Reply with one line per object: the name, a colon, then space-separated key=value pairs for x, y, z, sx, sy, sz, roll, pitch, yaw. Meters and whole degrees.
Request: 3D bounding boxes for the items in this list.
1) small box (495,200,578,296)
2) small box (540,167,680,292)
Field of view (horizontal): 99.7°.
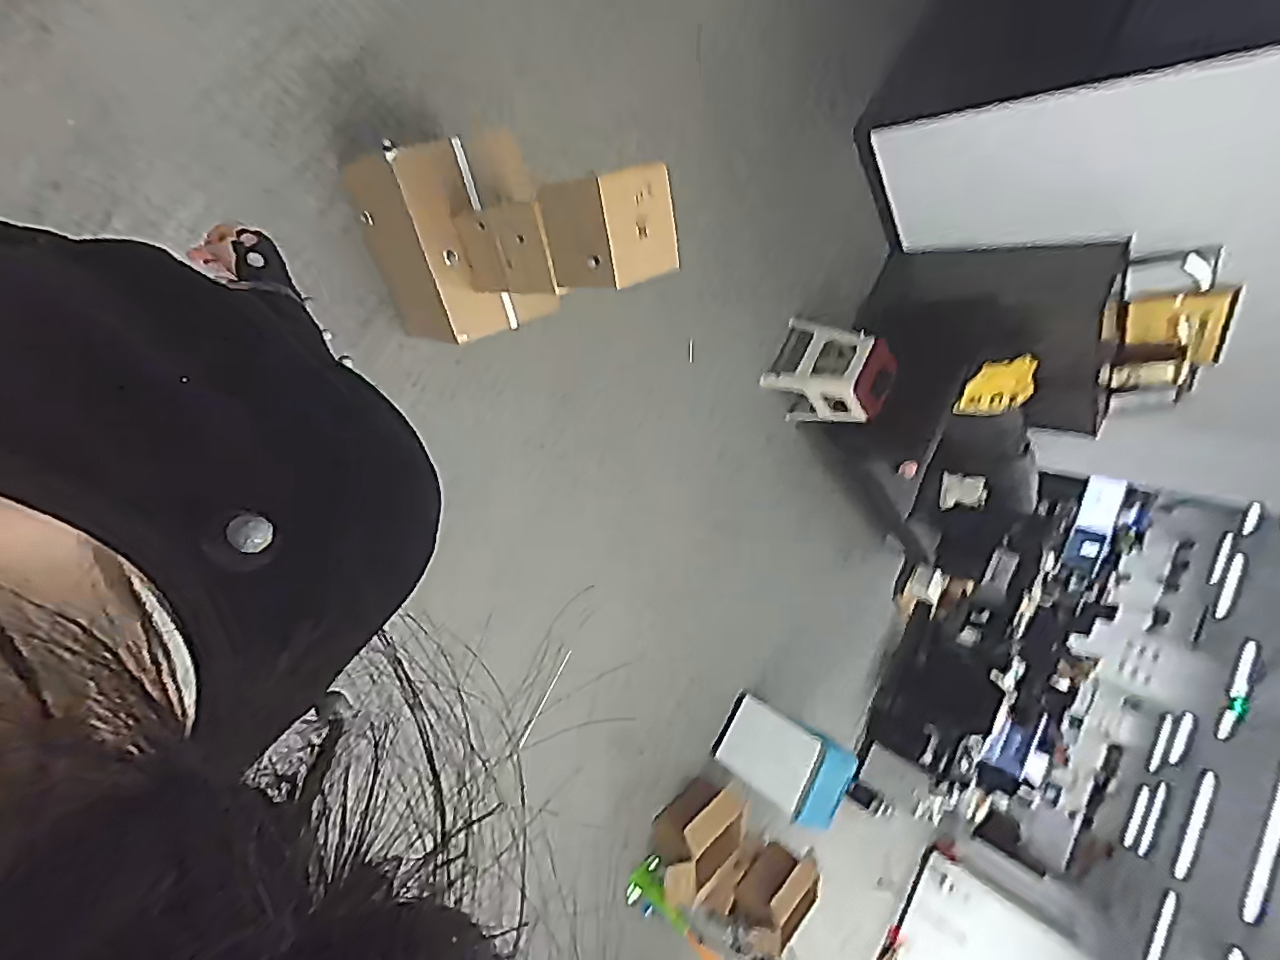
small box: x=-0.169 y=-0.472 z=1.085 sx=0.179 sy=0.176 sz=0.168 roll=-35 pitch=126 yaw=-34
small box: x=-0.053 y=-0.446 z=0.971 sx=0.168 sy=0.176 sz=0.179 roll=-33 pitch=125 yaw=-35
